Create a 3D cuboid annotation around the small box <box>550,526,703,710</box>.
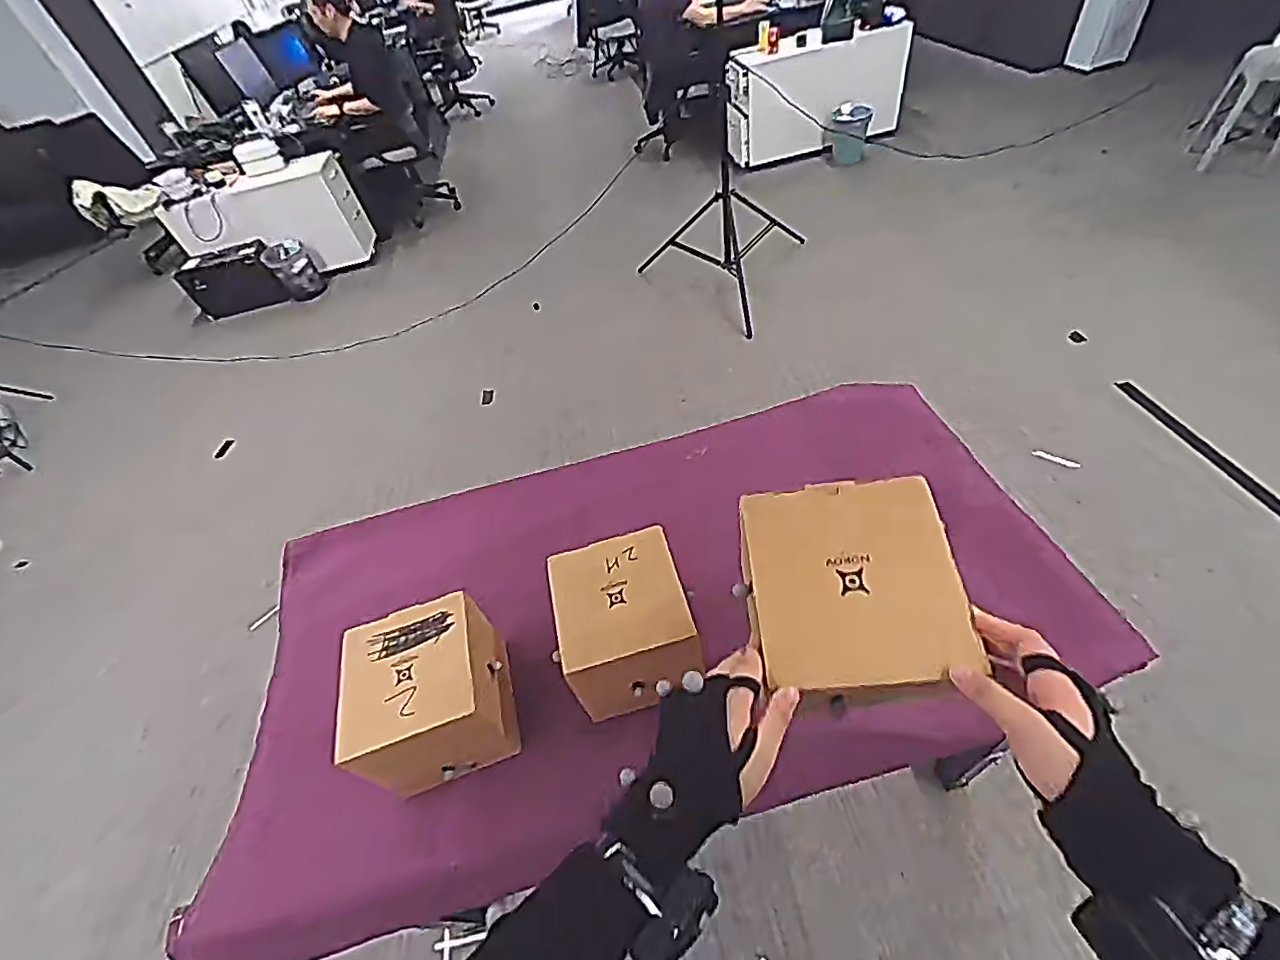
[{"bbox_3d":[-0.016,0.198,0.750,0.168,0.176,0.179,-15,47,-3],"label":"small box"}]
